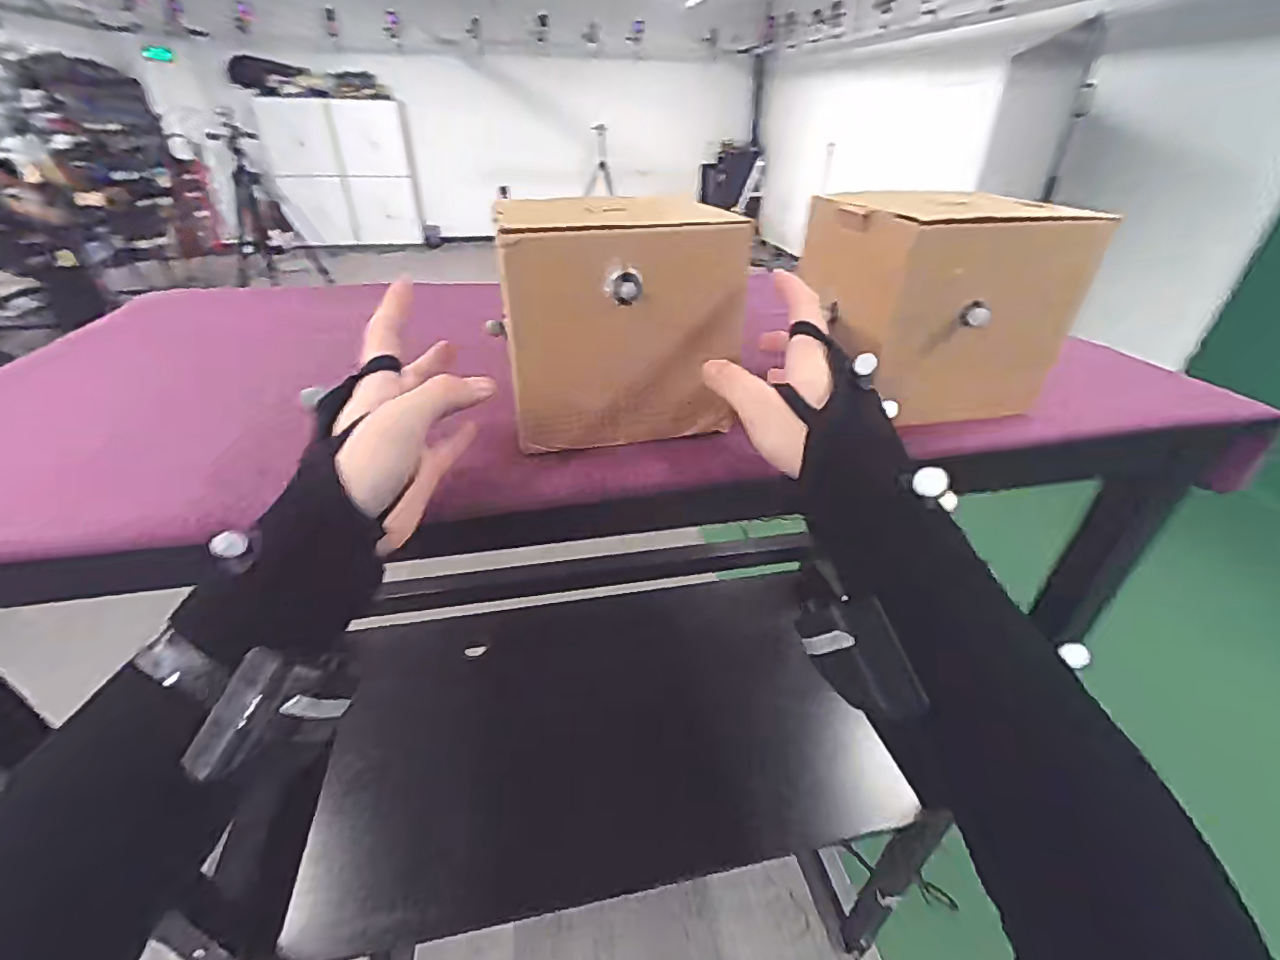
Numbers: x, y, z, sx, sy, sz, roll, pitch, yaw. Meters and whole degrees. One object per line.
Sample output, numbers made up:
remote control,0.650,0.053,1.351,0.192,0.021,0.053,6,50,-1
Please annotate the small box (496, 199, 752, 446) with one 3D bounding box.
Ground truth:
small box,-0.022,-0.139,0.464,0.179,0.176,0.168,-7,33,-12

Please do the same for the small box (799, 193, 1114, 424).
small box,0.263,-0.162,0.503,0.179,0.176,0.168,-7,35,-10
